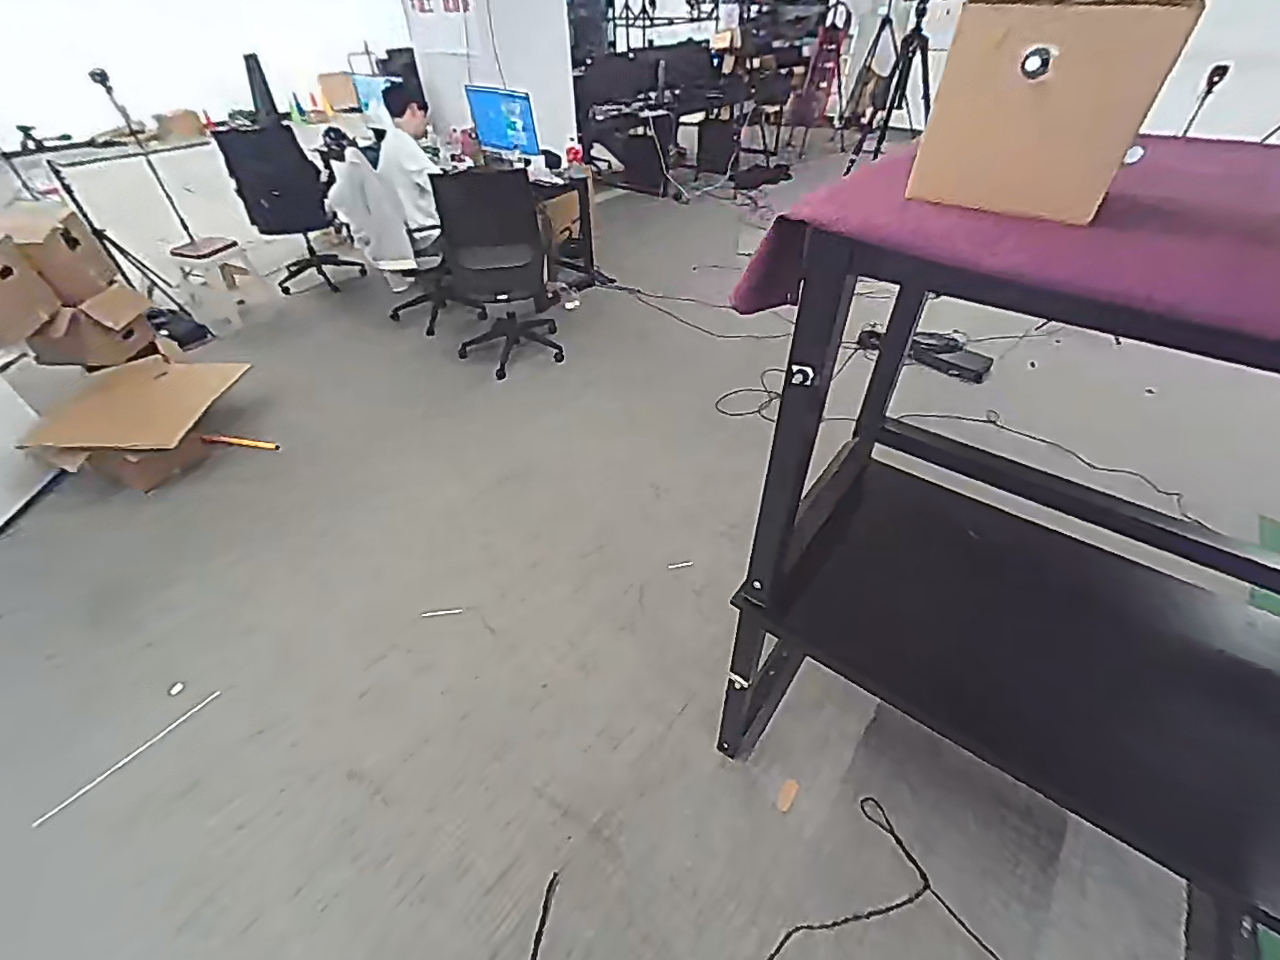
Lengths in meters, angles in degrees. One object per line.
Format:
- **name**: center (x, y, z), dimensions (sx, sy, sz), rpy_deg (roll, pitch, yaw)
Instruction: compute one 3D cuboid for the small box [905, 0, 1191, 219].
- **small box**: center (0.401, -0.384, 0.557), dimensions (0.179, 0.176, 0.168), rpy_deg (25, 48, 25)
